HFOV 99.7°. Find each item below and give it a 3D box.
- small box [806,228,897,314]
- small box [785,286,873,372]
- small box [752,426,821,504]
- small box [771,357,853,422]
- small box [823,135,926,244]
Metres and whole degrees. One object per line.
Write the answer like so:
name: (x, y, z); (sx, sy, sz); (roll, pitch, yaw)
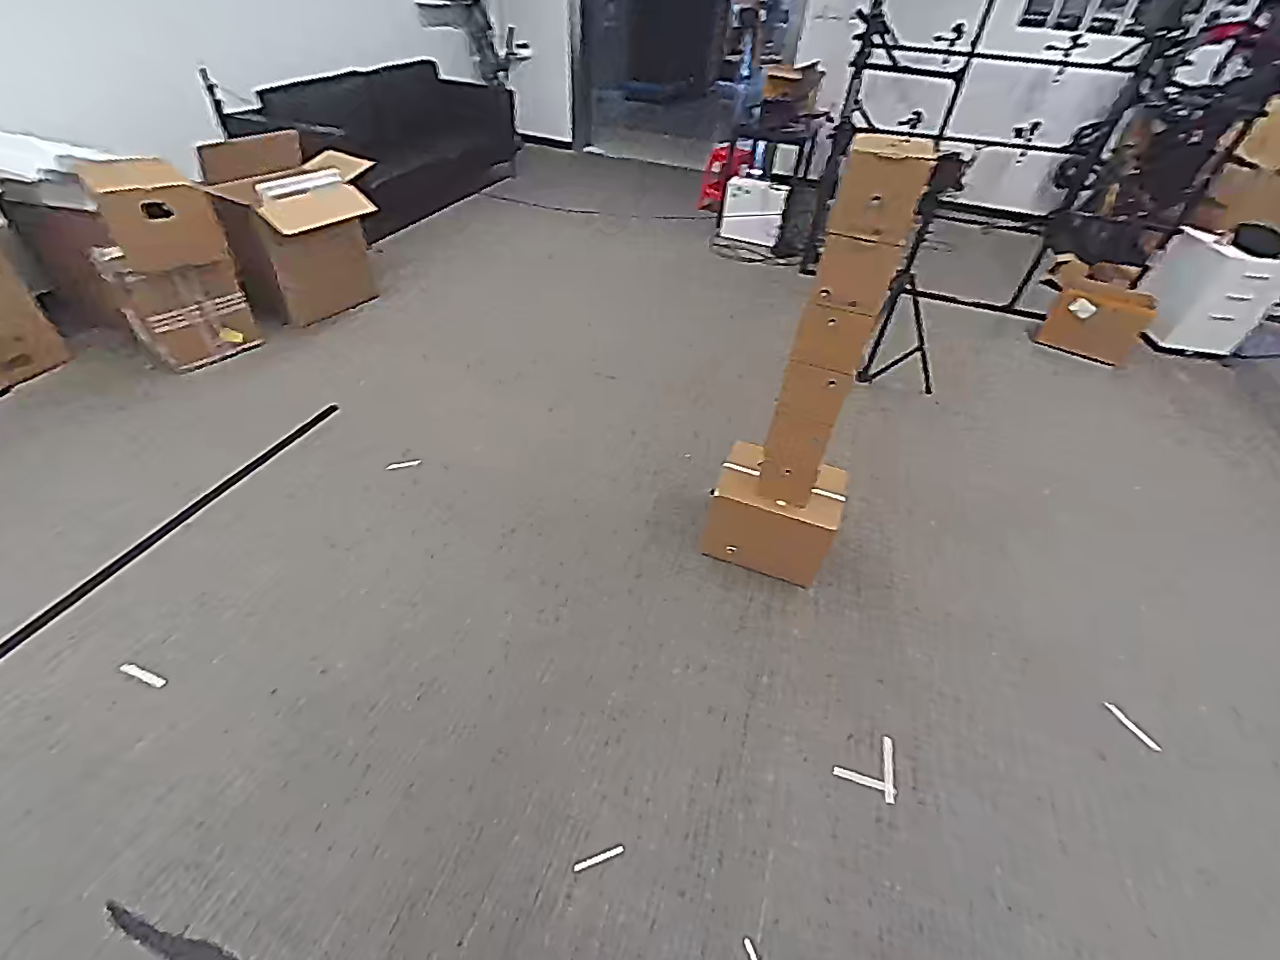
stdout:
small box: (0.513, -0.524, 1.312); (0.168, 0.176, 0.179); (18, 45, 14)
small box: (0.500, -0.405, 1.424); (0.179, 0.176, 0.168); (18, 46, 14)
small box: (0.472, -0.045, 1.756); (0.179, 0.176, 0.168); (16, 45, 10)
small box: (0.491, -0.286, 1.534); (0.179, 0.176, 0.168); (18, 45, 14)
small box: (0.516, -0.644, 1.199); (0.168, 0.176, 0.179); (17, 46, 13)
